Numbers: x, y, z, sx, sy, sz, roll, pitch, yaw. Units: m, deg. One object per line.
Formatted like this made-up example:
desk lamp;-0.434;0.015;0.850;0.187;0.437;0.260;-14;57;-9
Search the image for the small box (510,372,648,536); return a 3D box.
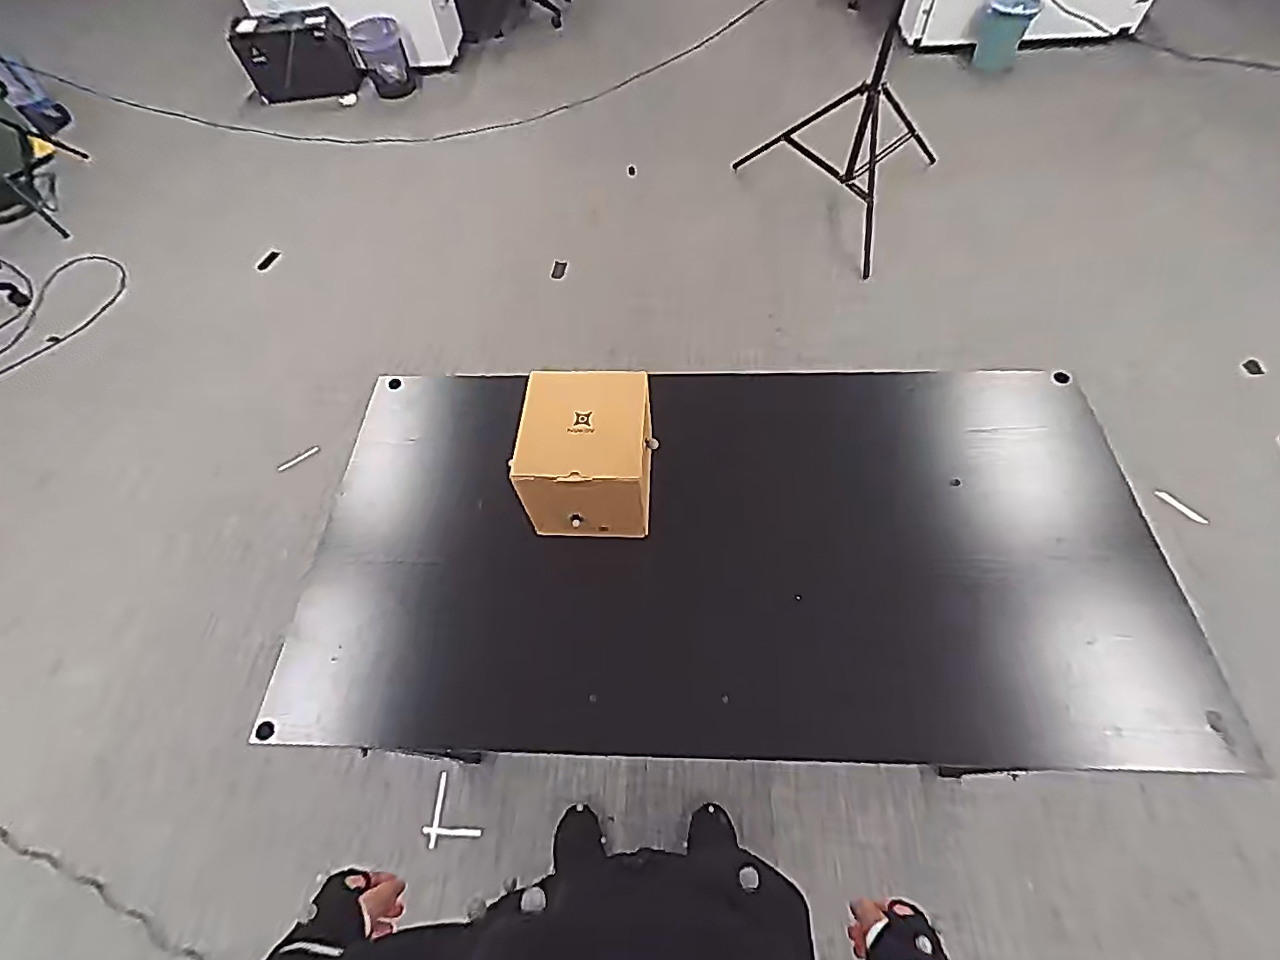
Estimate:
small box;-0.075;-0.035;0.782;0.168;0.176;0.179;1;60;4
